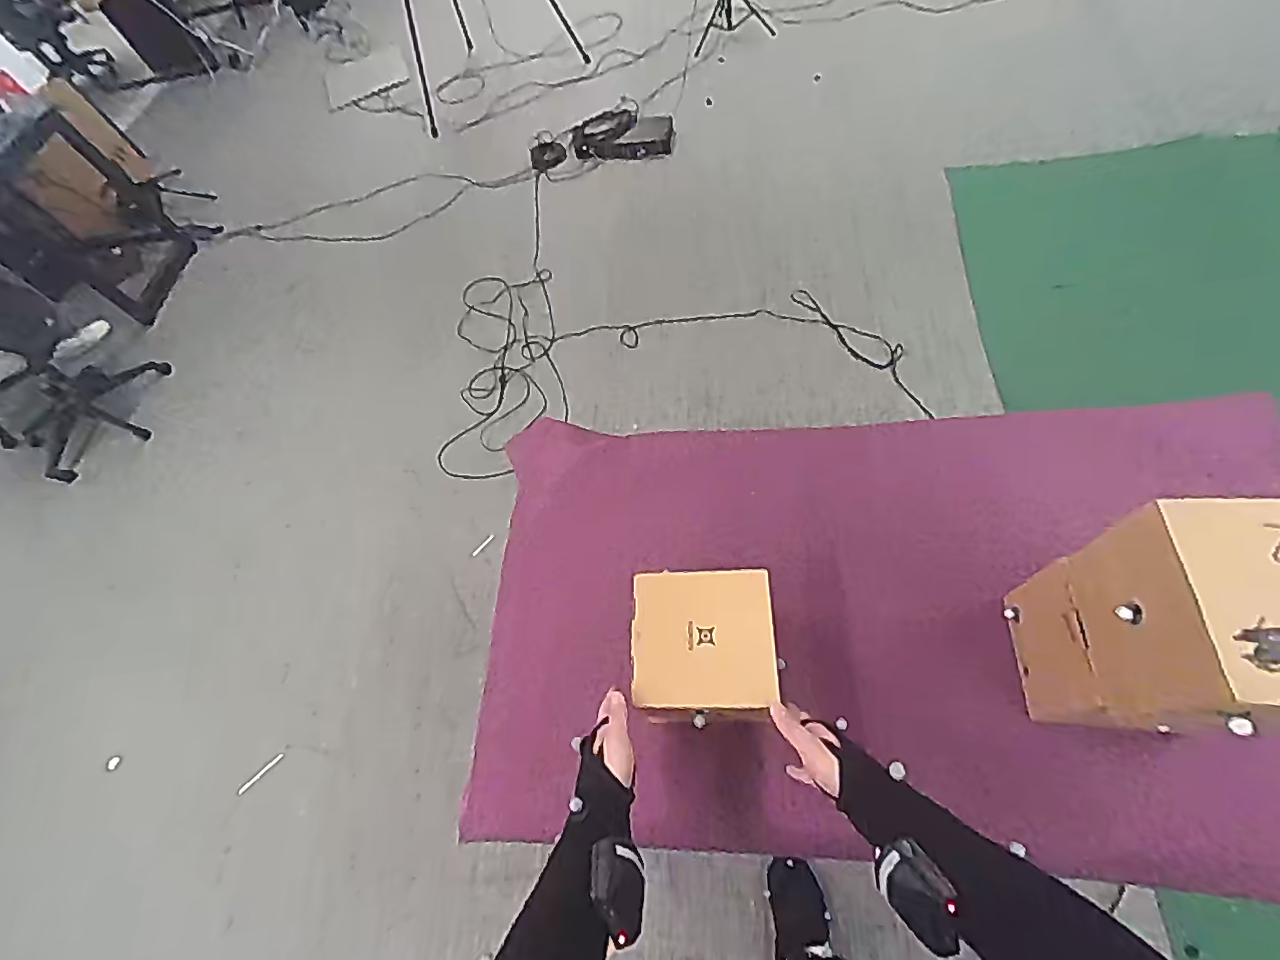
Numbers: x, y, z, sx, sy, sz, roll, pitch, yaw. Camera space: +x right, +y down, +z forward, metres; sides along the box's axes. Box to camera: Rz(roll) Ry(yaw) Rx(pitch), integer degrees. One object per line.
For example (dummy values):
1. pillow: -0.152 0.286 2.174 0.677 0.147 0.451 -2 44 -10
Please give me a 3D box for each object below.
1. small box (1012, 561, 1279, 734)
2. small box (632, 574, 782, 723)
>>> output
1. small box: 0.581 0.205 0.649 0.179 0.176 0.168 0 62 11
2. small box: 0.091 0.233 0.732 0.179 0.176 0.168 -4 61 9
